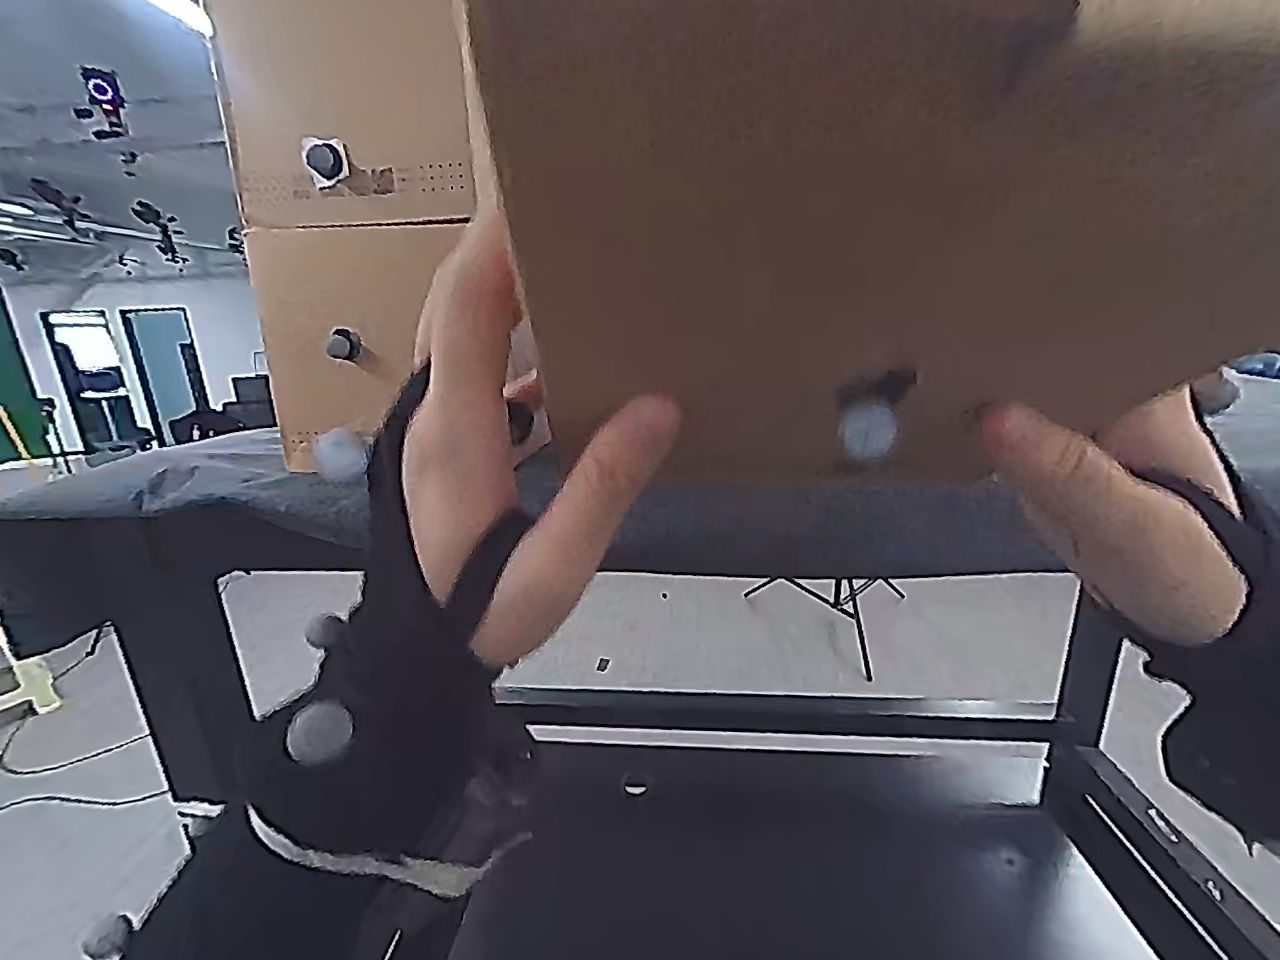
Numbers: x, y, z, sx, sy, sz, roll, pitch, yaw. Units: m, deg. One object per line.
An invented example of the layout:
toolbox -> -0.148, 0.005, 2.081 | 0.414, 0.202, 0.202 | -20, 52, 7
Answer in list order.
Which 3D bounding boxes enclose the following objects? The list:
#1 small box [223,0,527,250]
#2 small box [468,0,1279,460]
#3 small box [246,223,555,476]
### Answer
small box -> -0.169, -0.259, 0.409 | 0.168, 0.176, 0.179 | -1, 14, 7
small box -> 0.057, -0.111, 0.156 | 0.168, 0.179, 0.176 | 1, -17, -5
small box -> -0.169, -0.100, 0.447 | 0.168, 0.176, 0.179 | 0, 13, 5
